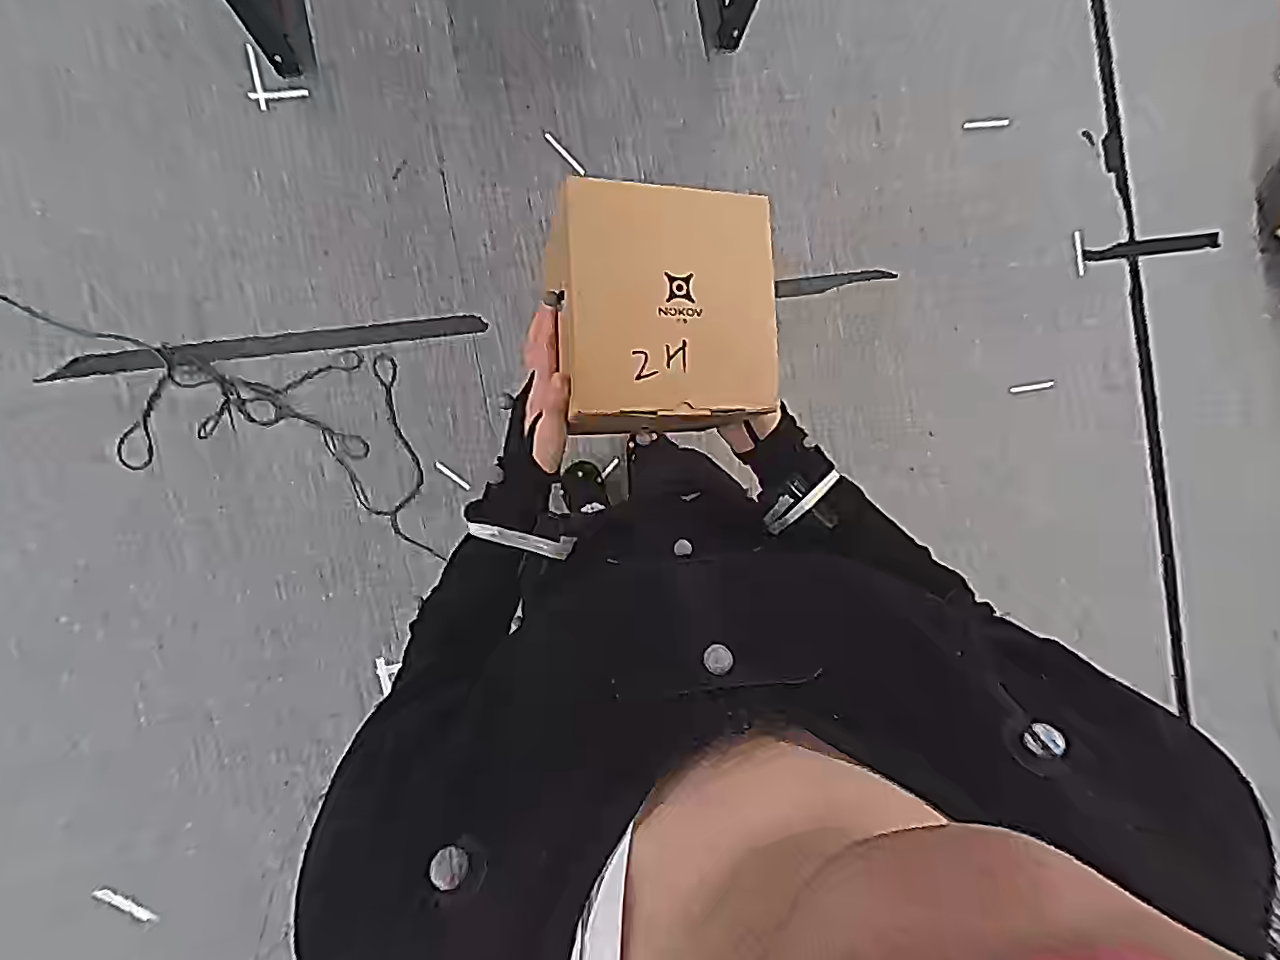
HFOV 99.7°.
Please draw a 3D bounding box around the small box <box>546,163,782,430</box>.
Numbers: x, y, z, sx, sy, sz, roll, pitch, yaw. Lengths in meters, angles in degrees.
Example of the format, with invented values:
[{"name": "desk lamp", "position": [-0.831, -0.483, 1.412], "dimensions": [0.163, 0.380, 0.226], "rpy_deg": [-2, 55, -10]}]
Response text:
[{"name": "small box", "position": [0.009, -0.142, 0.484], "dimensions": [0.168, 0.176, 0.179], "rpy_deg": [-3, 90, -15]}]
